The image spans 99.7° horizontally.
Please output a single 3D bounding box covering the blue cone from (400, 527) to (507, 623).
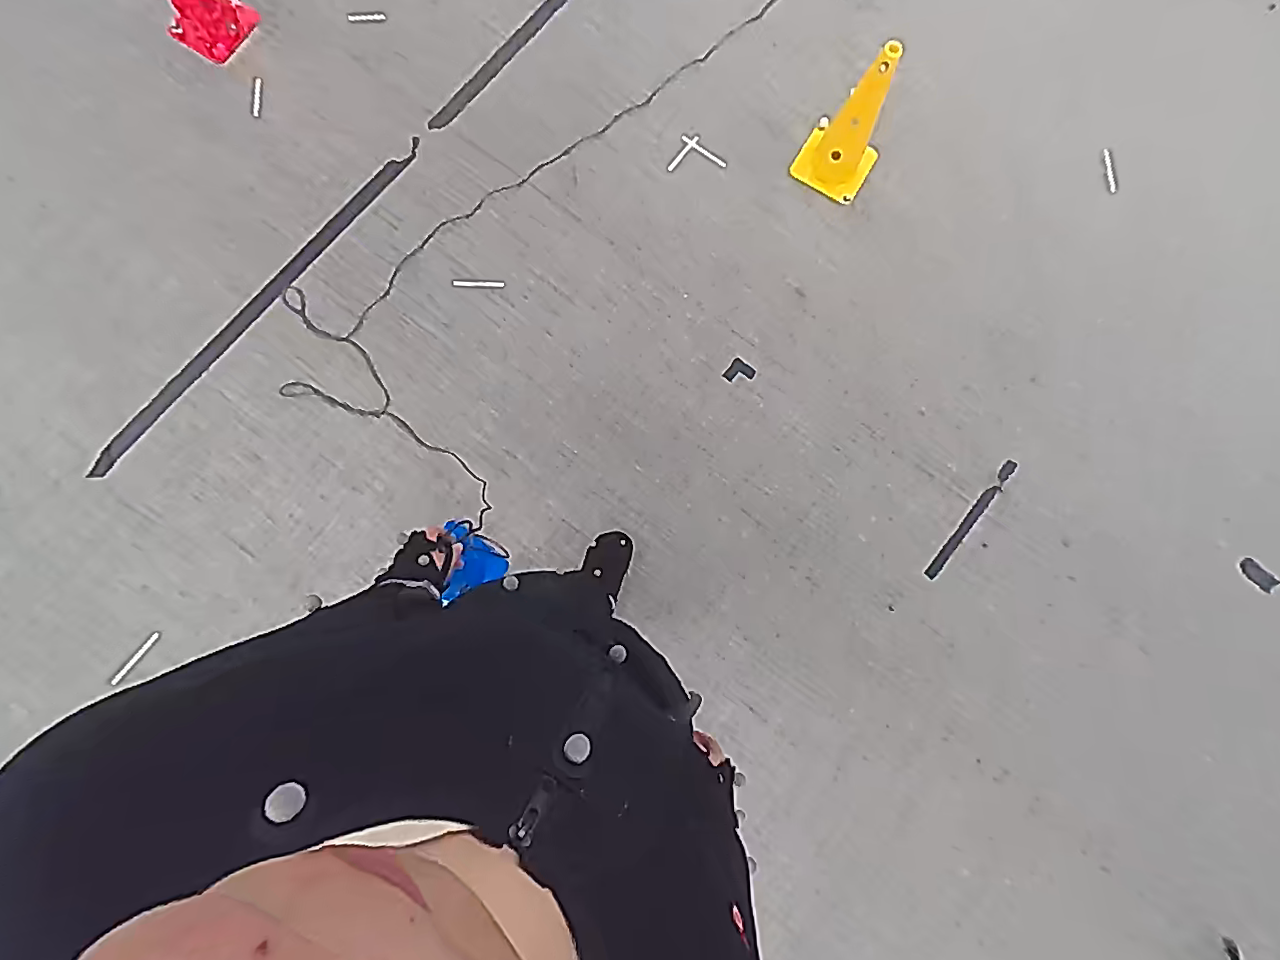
[{"bbox_3d":[-0.447,0.213,1.194,0.192,0.380,0.193,39,83,3],"label":"blue cone"}]

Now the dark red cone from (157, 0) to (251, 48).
[{"bbox_3d":[-1.226,-1.355,1.370,0.201,0.394,0.202,31,82,2],"label":"dark red cone"}]
